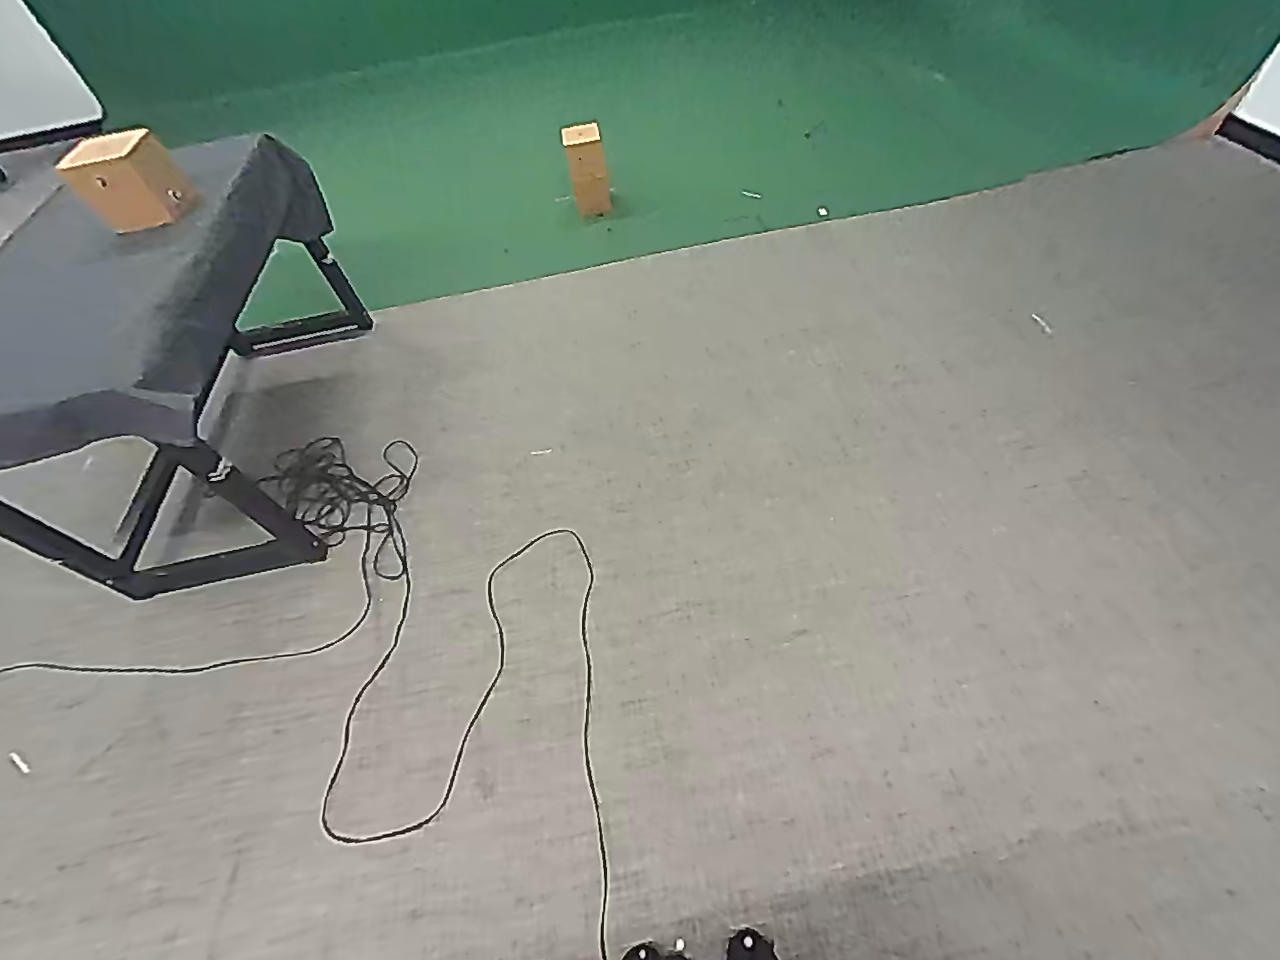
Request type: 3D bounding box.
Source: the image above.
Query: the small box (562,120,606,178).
[{"bbox_3d":[-0.256,-1.507,2.471,0.168,0.176,0.179,-11,54,1],"label":"small box"}]

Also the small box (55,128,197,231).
[{"bbox_3d":[-1.313,-0.771,1.398,0.179,0.176,0.168,-11,55,0],"label":"small box"}]
